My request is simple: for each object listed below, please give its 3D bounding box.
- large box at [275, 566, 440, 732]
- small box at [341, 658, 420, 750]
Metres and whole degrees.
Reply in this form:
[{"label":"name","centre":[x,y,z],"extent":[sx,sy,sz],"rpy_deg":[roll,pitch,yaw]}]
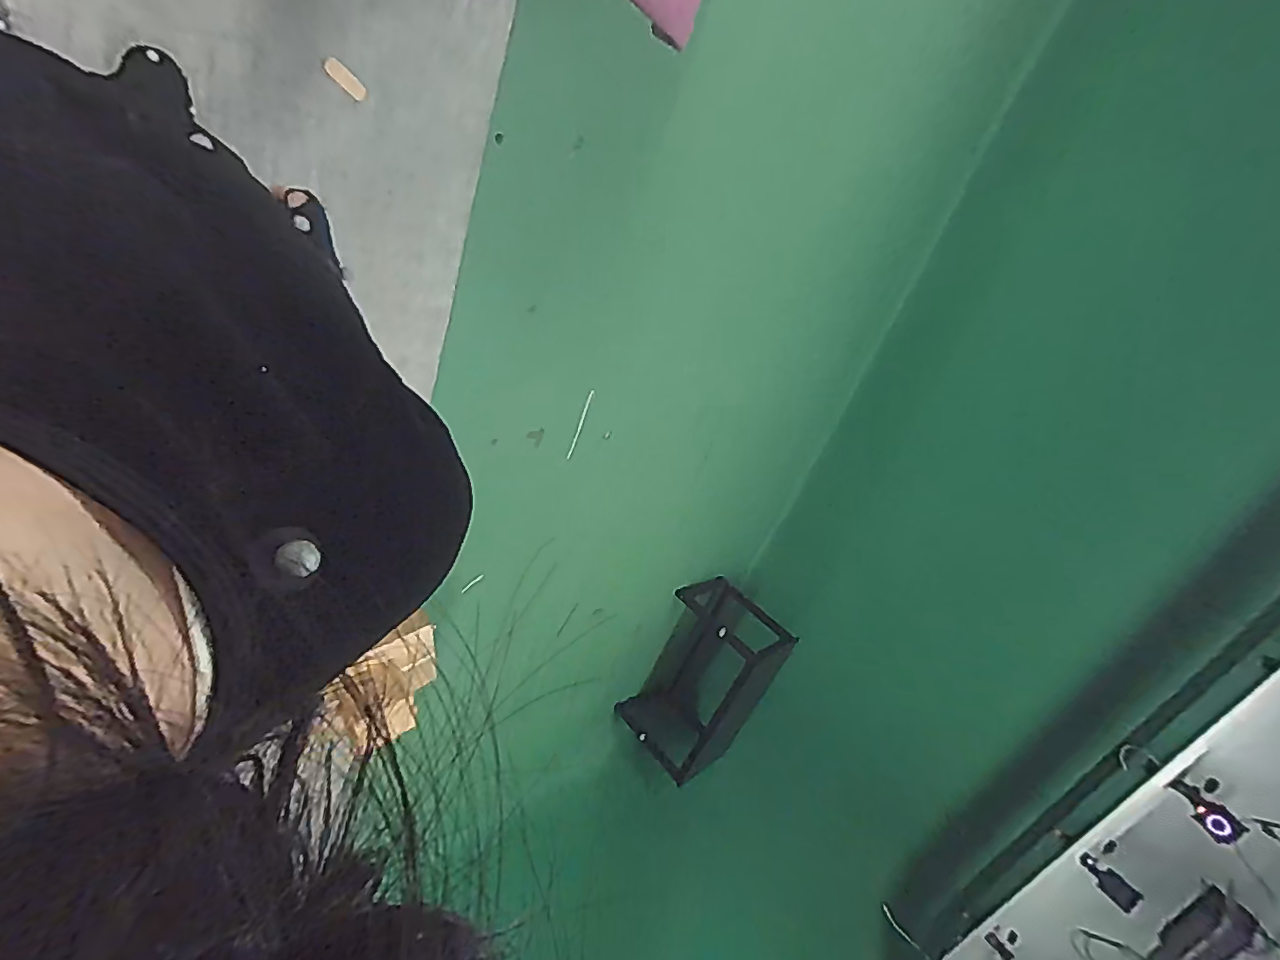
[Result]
[{"label":"large box","centre":[-0.958,0.562,1.861],"extent":[0.408,0.320,0.320],"rpy_deg":[-21,137,-38]},{"label":"small box","centre":[-0.818,0.699,1.708],"extent":[0.179,0.176,0.168],"rpy_deg":[-17,132,-40]}]
